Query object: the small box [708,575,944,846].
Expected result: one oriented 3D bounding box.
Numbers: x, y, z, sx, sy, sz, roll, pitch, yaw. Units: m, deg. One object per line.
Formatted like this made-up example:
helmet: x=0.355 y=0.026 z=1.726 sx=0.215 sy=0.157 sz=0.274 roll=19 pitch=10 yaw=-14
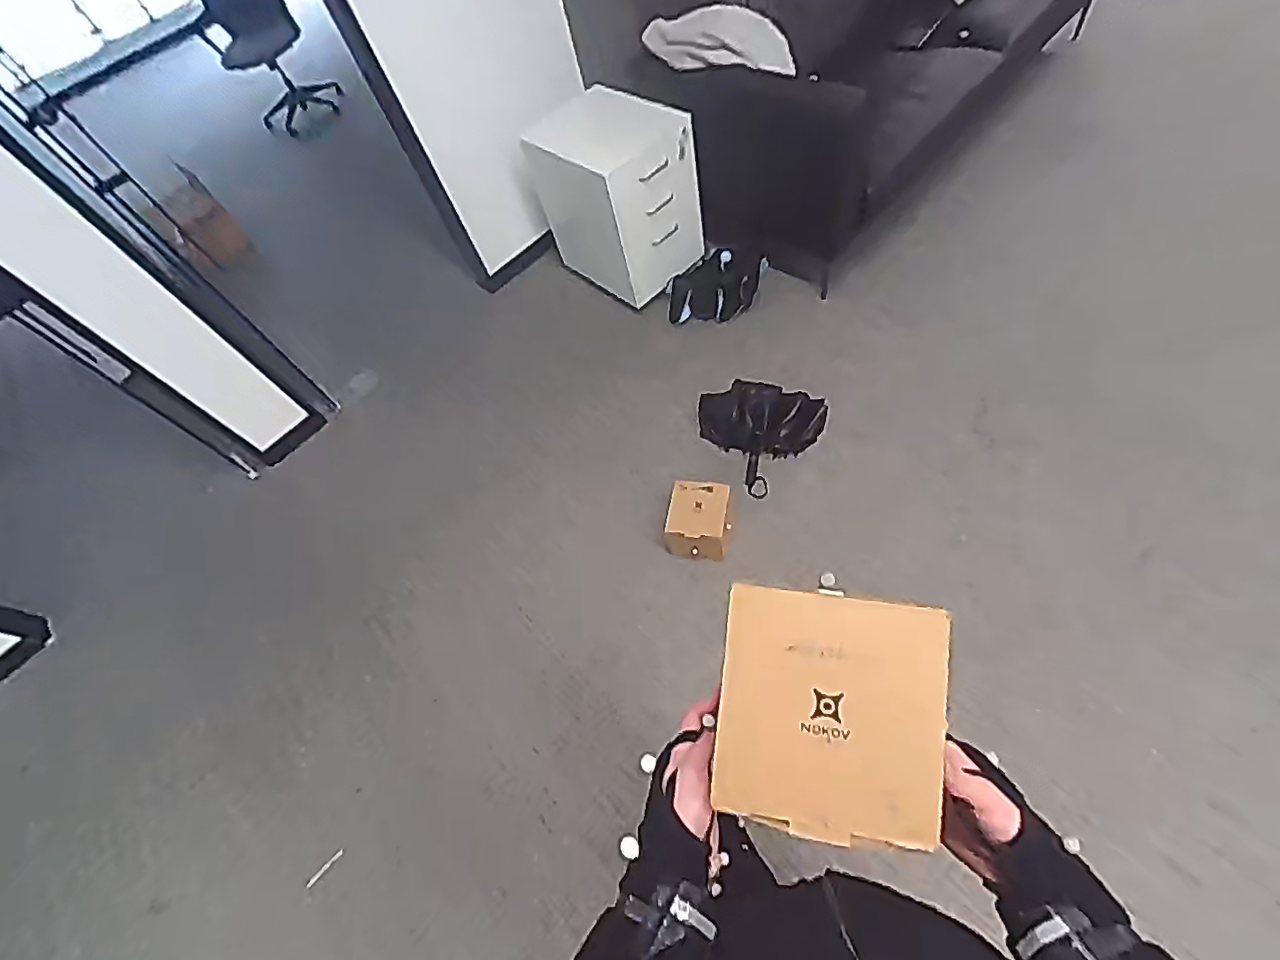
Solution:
small box: x=0.156 y=0.186 z=0.495 sx=0.168 sy=0.176 sz=0.179 roll=5 pitch=82 yaw=10
